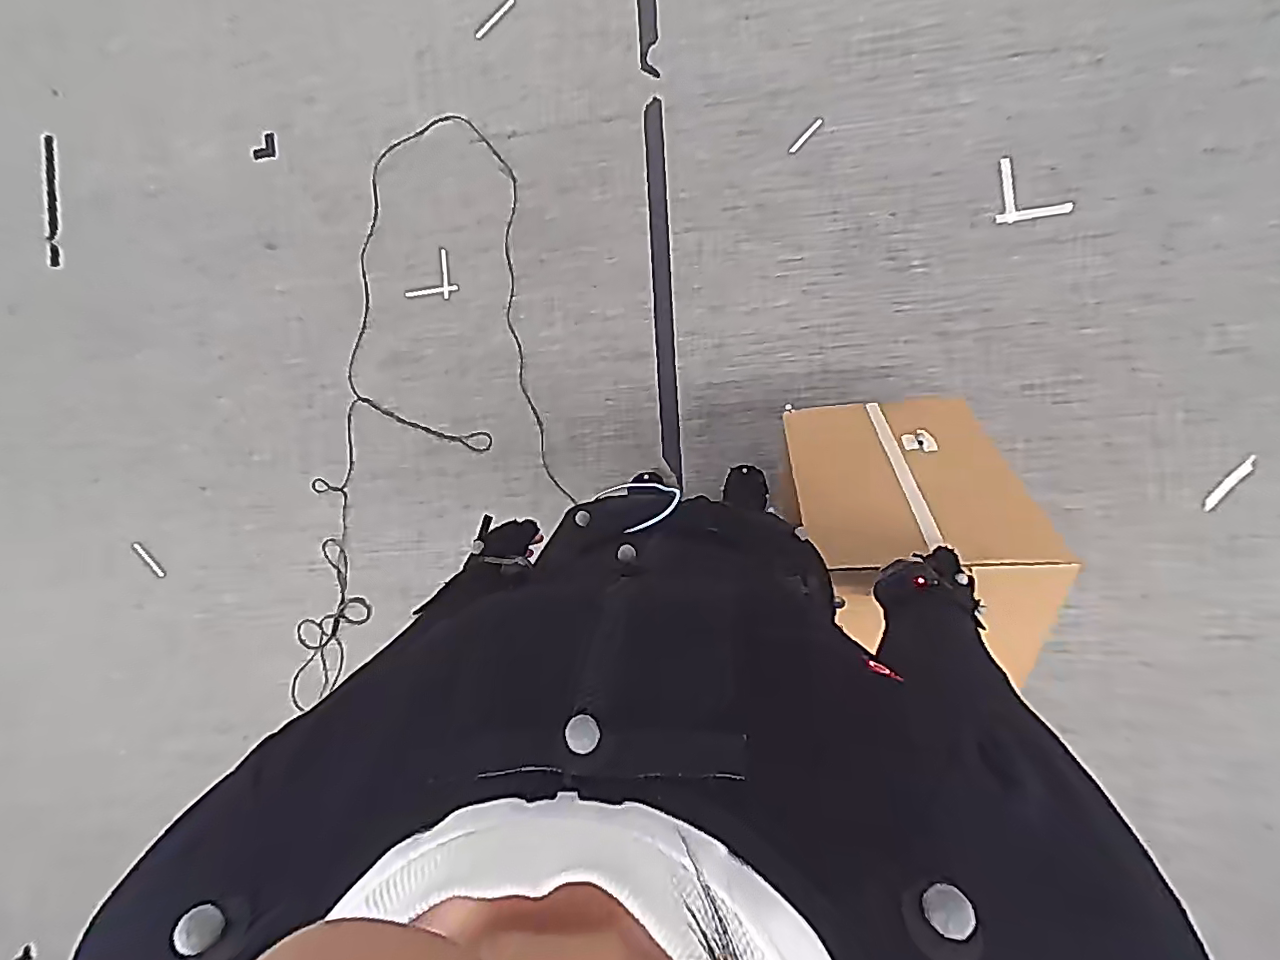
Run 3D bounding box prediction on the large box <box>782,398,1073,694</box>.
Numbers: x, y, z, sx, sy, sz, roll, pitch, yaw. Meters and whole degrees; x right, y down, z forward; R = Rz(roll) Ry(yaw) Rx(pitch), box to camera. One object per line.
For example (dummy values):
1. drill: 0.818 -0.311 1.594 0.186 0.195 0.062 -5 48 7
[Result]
1. large box: 0.427 0.103 0.928 0.320 0.408 0.320 -4 126 10
